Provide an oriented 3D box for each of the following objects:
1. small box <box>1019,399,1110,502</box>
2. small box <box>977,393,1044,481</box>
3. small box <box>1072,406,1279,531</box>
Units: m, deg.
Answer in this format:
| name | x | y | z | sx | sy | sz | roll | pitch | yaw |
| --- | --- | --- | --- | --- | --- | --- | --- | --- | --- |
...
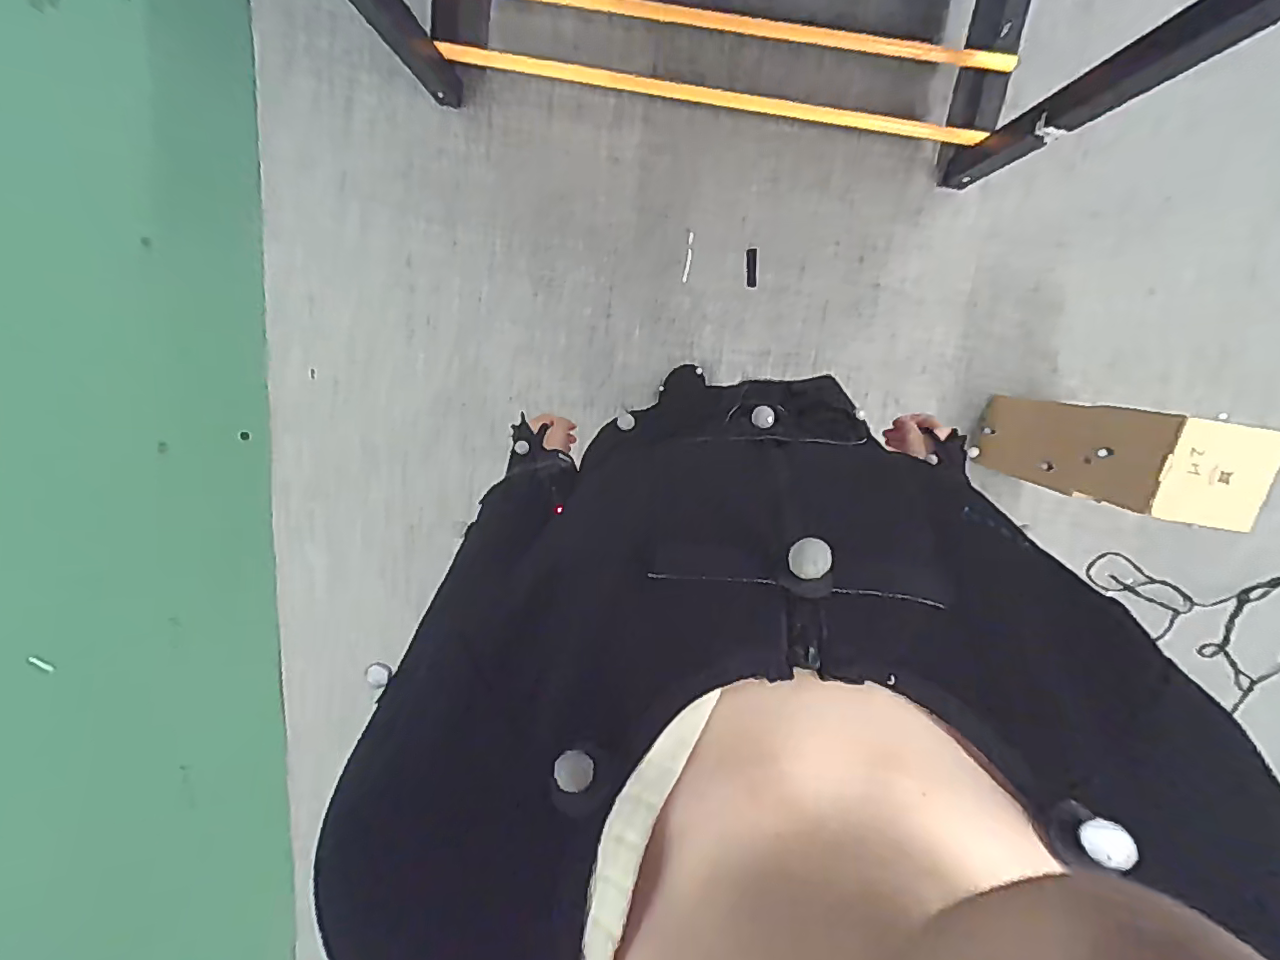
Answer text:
| name | x | y | z | sx | sy | sz | roll | pitch | yaw |
| --- | --- | --- | --- | --- | --- | --- | --- | --- | --- |
| small box | 0.909 | -0.059 | 1.085 | 0.168 | 0.176 | 0.179 | 8 | 103 | -1 |
| small box | 0.916 | -0.095 | 1.244 | 0.168 | 0.176 | 0.179 | 10 | 105 | -1 |
| small box | 0.907 | -0.027 | 0.923 | 0.179 | 0.176 | 0.168 | 9 | 104 | -1 |
